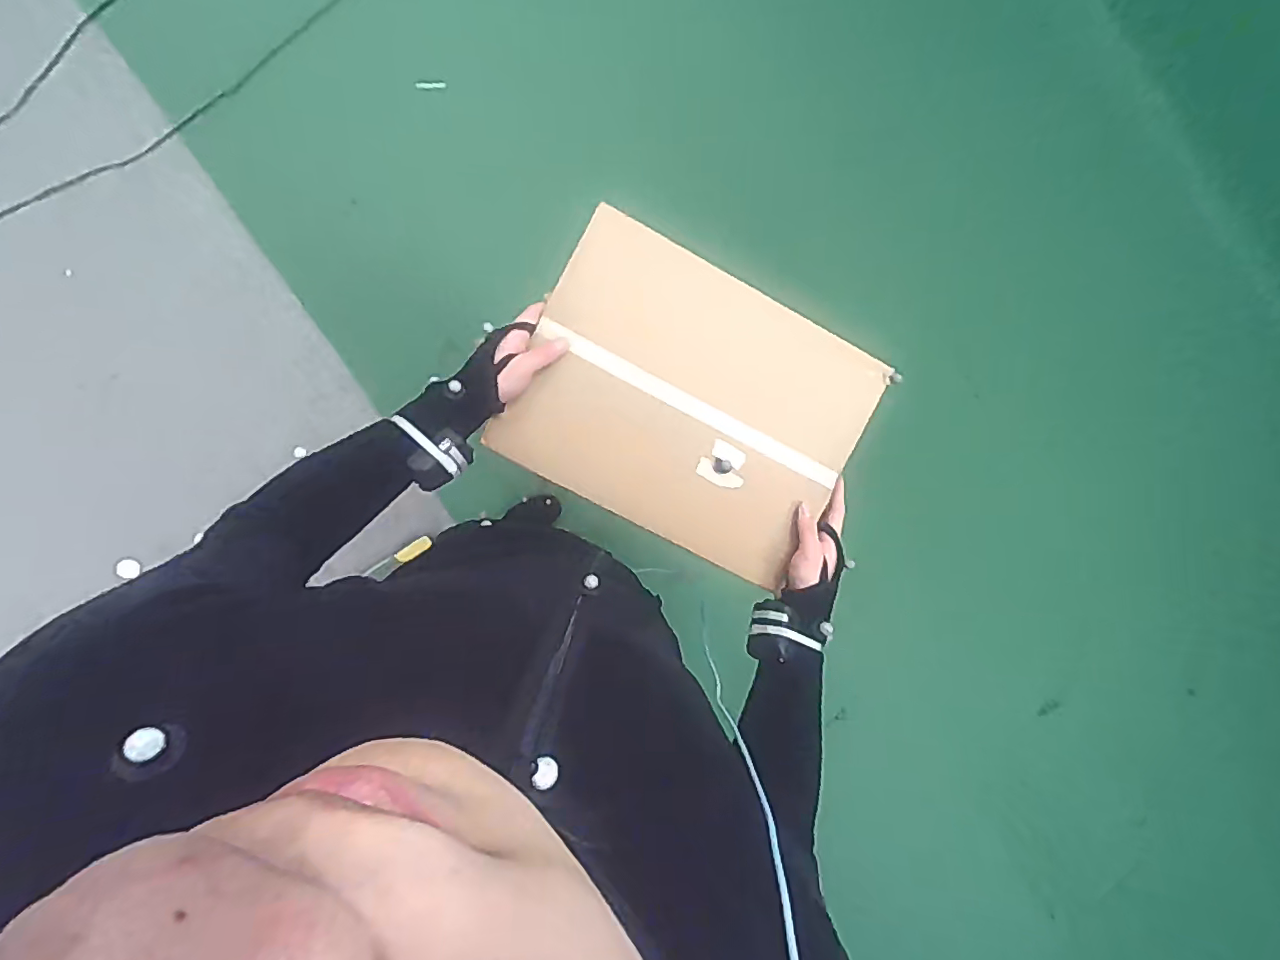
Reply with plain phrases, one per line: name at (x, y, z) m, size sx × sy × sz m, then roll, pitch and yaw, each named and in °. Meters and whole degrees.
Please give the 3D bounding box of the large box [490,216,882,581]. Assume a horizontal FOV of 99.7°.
large box at (0.047, -0.101, 0.805) m, size 0.408 × 0.320 × 0.320 m, roll 27°, pitch 92°, yaw -7°
